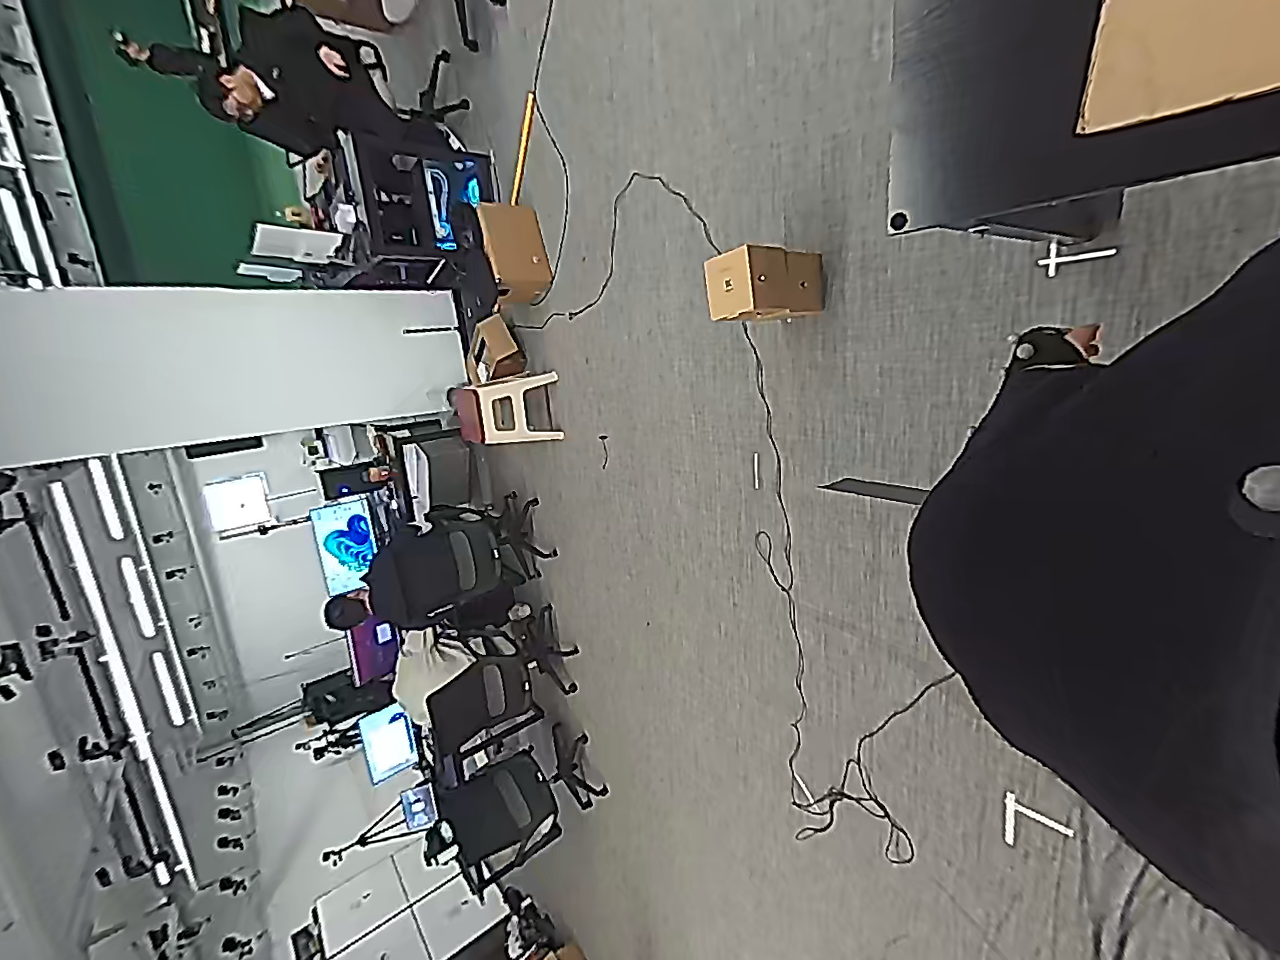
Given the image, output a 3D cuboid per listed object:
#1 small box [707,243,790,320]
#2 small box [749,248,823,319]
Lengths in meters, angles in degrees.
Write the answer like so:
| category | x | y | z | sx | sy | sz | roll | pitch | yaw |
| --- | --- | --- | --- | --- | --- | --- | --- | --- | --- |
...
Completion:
| category | x | y | z | sx | sy | sz | roll | pitch | yaw |
| --- | --- | --- | --- | --- | --- | --- | --- | --- | --- |
| small box | 0.318 | -0.573 | 1.571 | 0.168 | 0.176 | 0.179 | 3 | 103 | 52 |
| small box | 0.447 | -0.601 | 1.668 | 0.168 | 0.176 | 0.179 | 7 | 108 | 52 |
